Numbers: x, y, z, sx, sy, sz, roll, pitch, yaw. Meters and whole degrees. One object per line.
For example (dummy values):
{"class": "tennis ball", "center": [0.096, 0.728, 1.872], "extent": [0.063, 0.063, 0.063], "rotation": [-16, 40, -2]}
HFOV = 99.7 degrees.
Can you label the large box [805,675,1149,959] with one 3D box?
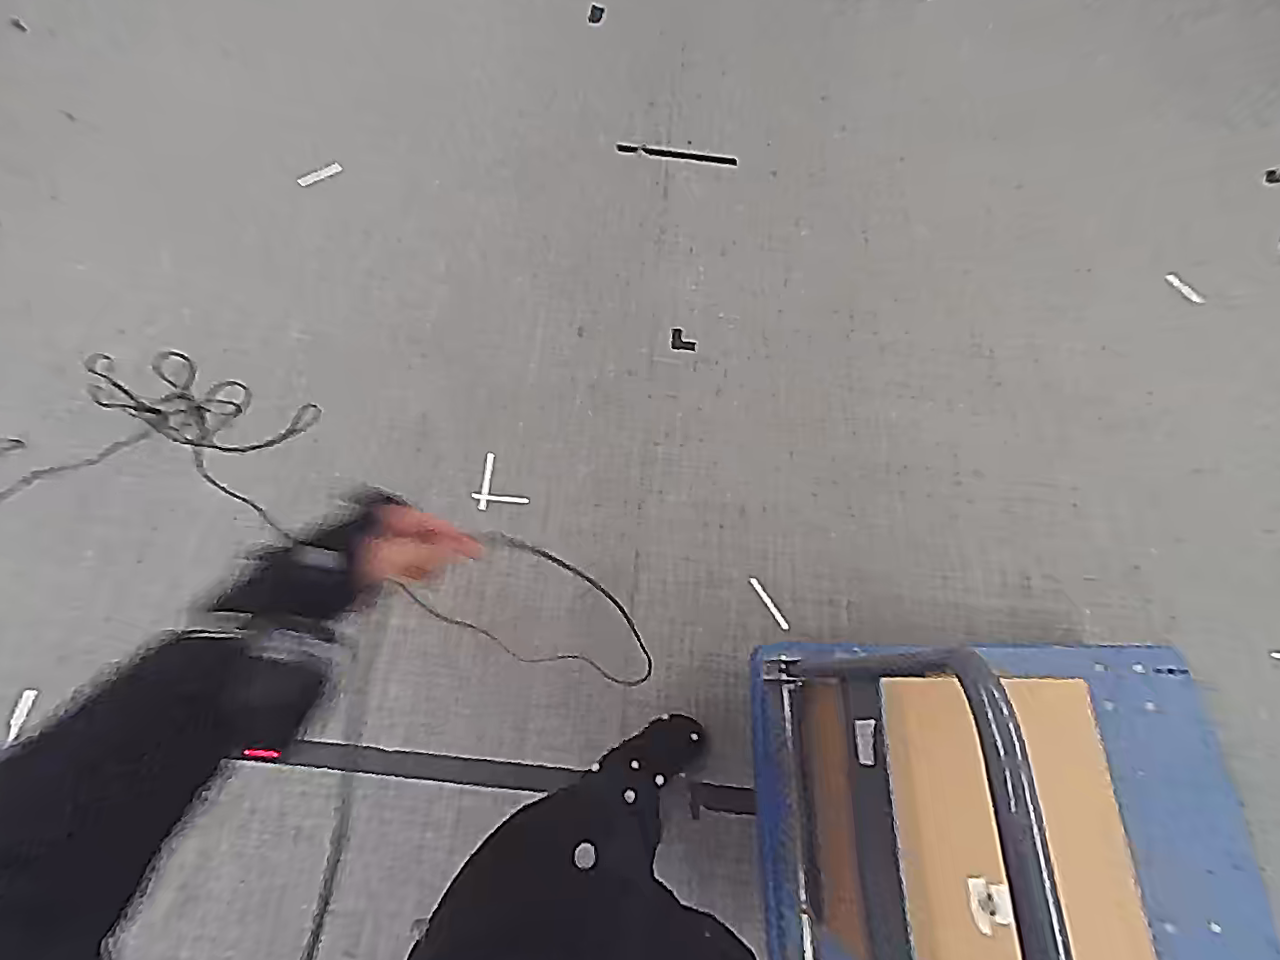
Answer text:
{"class": "large box", "center": [0.474, 0.523, 0.849], "extent": [0.320, 0.320, 0.408], "rotation": [1, 70, -1]}
